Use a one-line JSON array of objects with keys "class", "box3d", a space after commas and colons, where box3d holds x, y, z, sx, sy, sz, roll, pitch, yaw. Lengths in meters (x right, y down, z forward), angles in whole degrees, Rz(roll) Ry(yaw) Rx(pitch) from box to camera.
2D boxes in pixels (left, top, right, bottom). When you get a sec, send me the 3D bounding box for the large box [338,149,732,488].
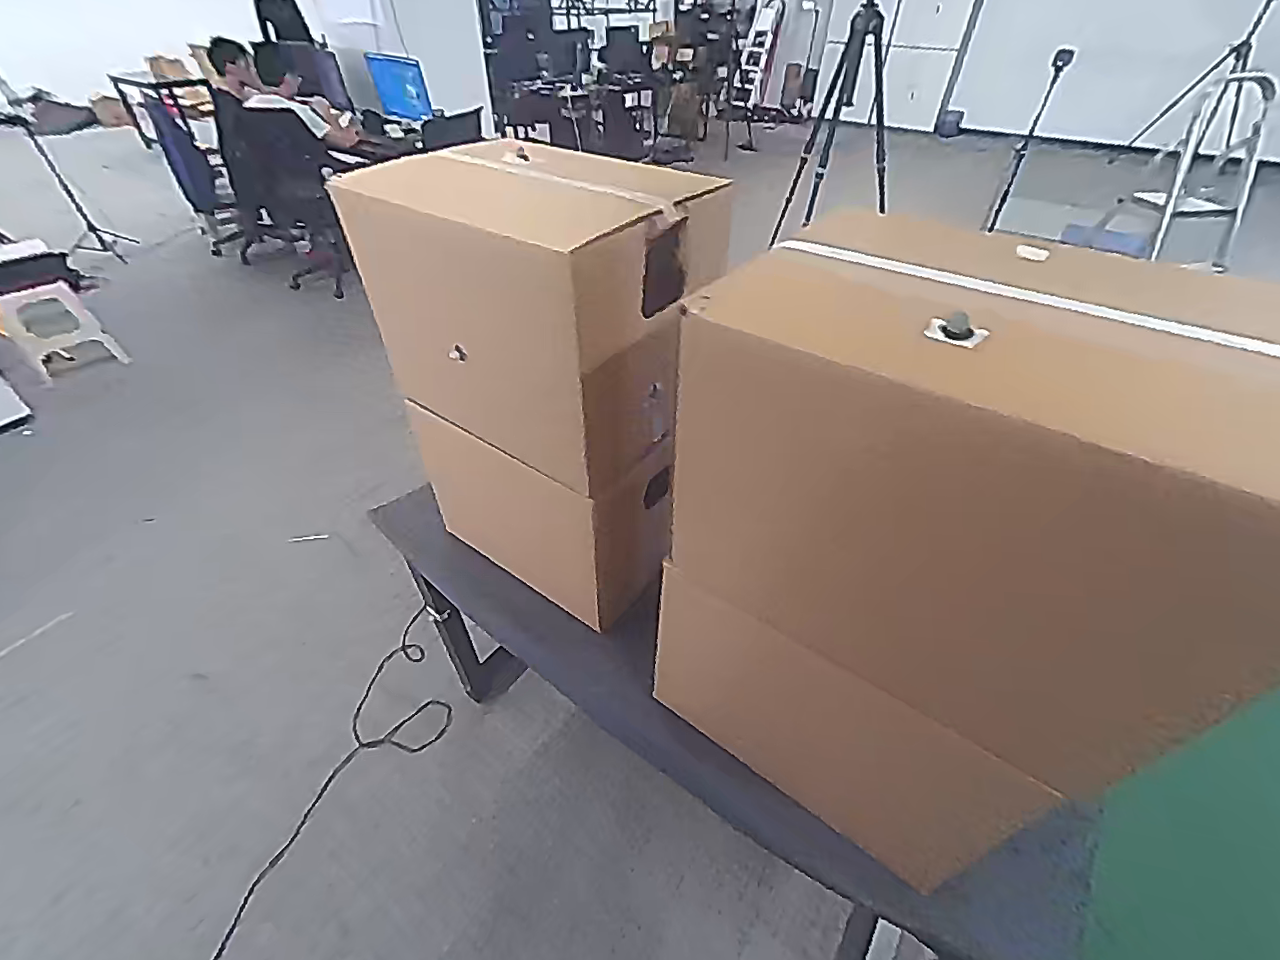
[{"class": "large box", "box3d": [-0.125, -0.250, 0.772, 0.408, 0.320, 0.320, 26, 48, 27]}]
